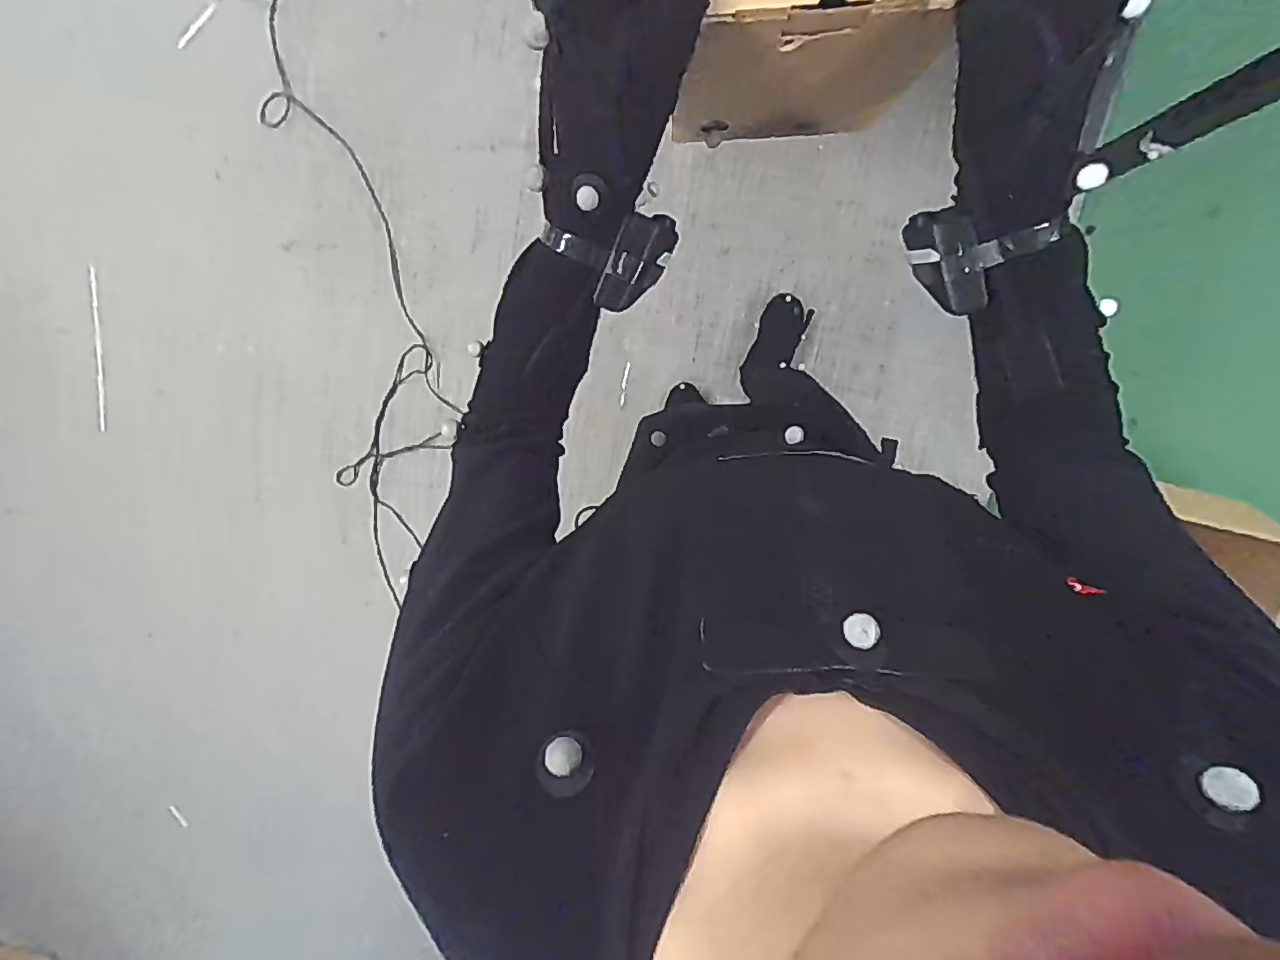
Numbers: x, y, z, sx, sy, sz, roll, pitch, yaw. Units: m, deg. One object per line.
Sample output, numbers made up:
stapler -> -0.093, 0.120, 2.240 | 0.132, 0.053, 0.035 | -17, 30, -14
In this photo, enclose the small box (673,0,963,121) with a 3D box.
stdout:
small box -> 0.106, -0.355, 0.344 | 0.168, 0.176, 0.179 | -1, 101, 3
